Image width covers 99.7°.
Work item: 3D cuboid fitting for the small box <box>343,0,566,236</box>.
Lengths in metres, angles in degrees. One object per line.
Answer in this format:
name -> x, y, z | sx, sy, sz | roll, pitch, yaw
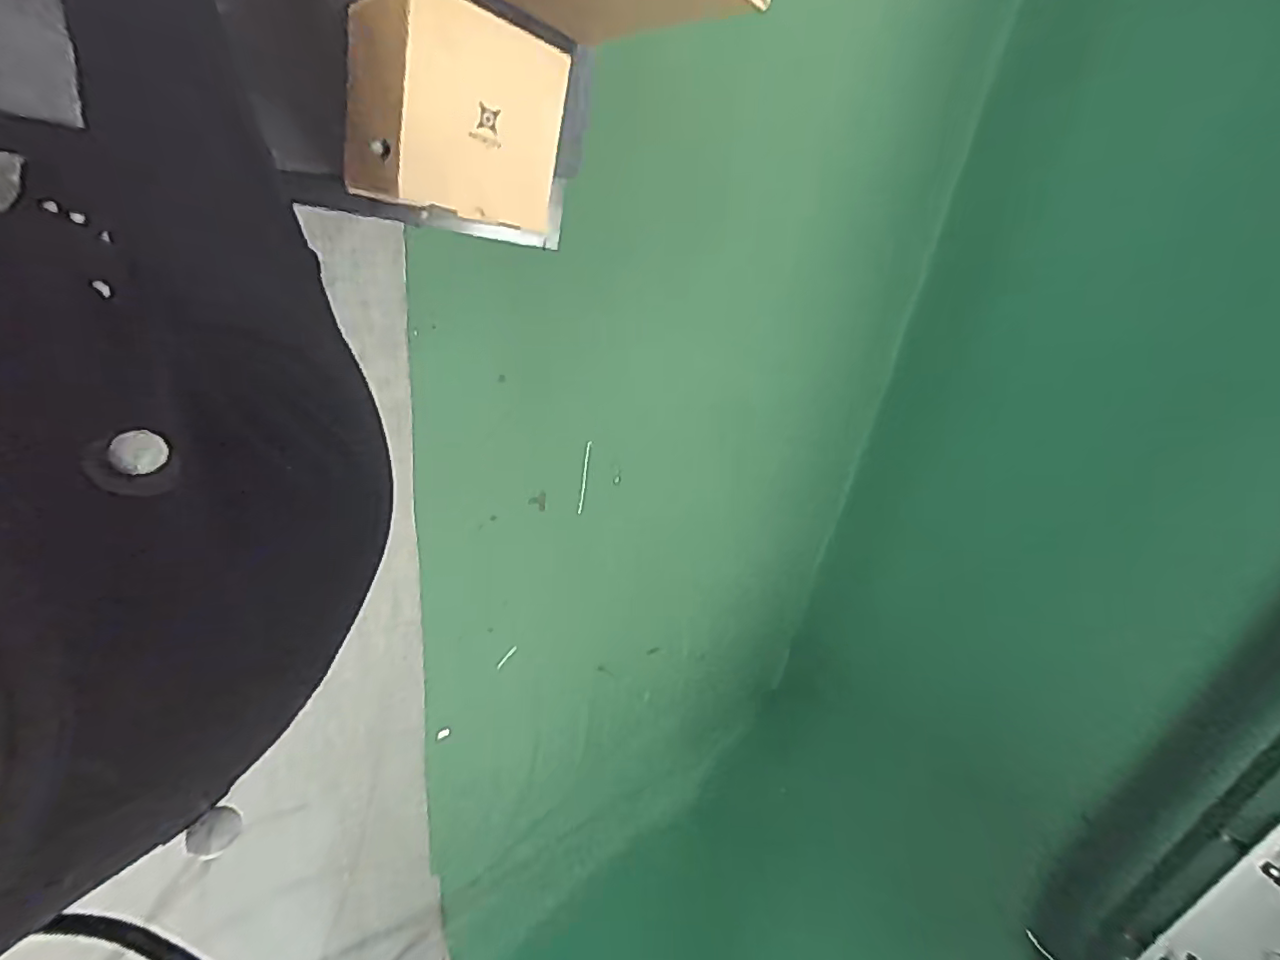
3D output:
small box -> -0.207, -0.385, 0.585 | 0.168, 0.176, 0.179 | -7, 121, -43
